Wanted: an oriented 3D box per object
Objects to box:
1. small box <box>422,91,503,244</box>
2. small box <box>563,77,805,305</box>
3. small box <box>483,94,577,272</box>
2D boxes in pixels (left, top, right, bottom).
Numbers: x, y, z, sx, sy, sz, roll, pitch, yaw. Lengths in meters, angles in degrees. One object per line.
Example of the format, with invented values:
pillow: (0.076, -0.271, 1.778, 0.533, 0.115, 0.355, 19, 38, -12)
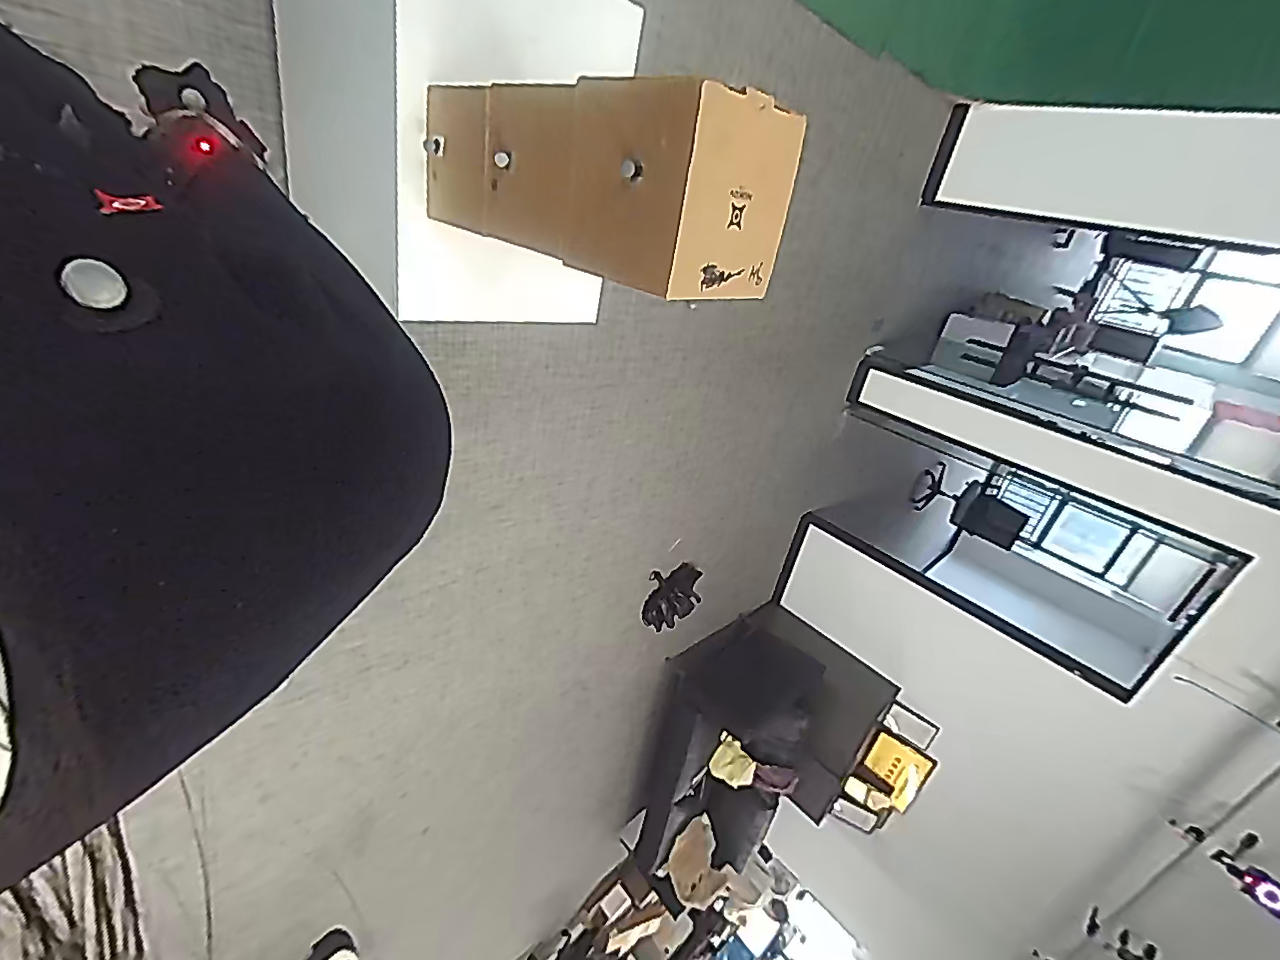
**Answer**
small box: (-0.183, -0.427, 0.755, 0.179, 0.176, 0.168, -16, 127, -40)
small box: (0.036, -0.287, 0.556, 0.168, 0.176, 0.179, -17, 127, -40)
small box: (-0.070, -0.356, 0.660, 0.179, 0.176, 0.168, -20, 130, -41)
